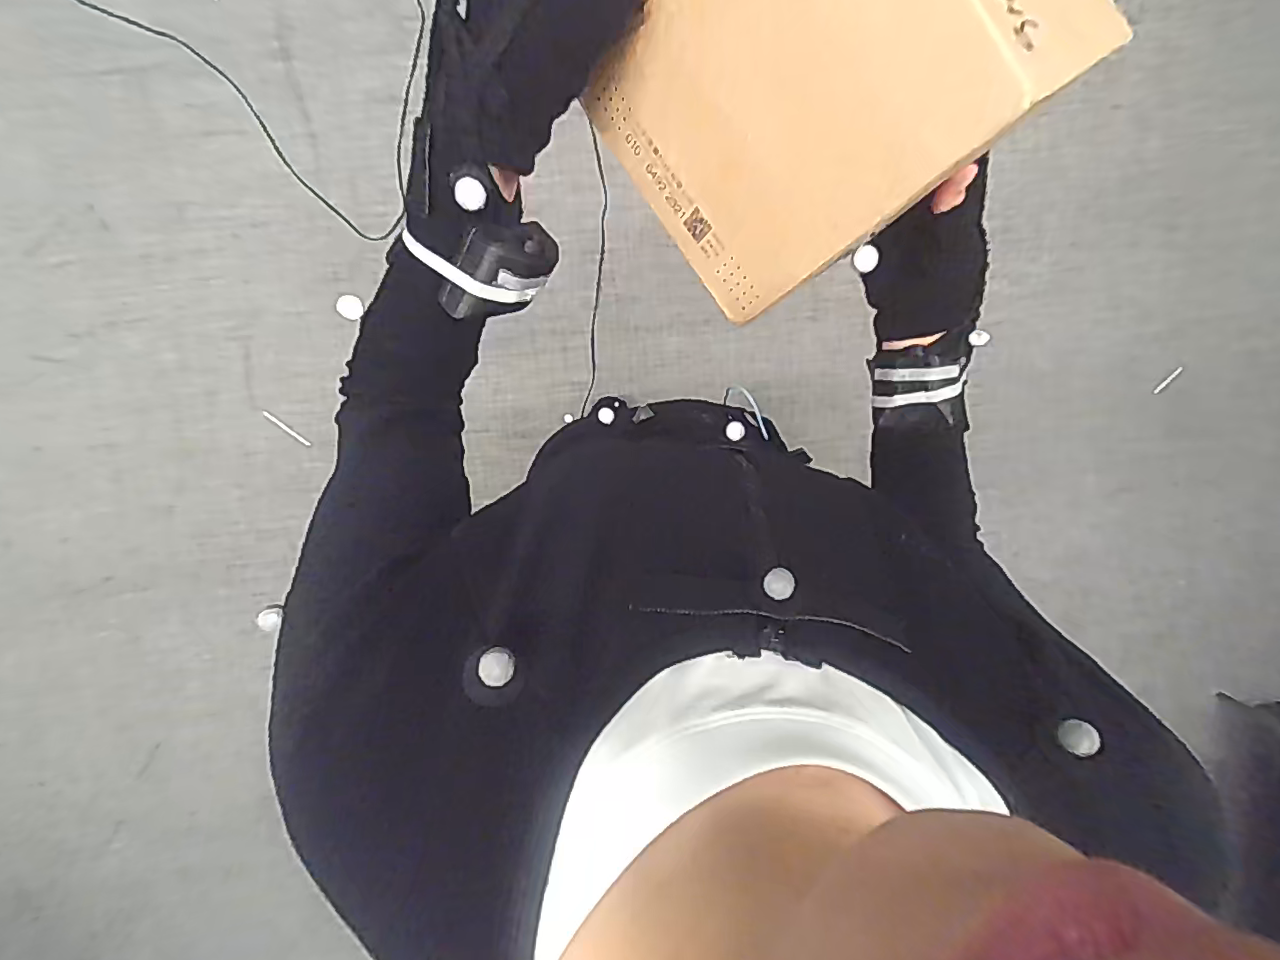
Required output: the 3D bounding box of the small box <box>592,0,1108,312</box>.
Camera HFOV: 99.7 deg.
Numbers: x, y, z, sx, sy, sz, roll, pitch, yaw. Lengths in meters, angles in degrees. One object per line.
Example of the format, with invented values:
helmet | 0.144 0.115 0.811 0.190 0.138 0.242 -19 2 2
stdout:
small box | 0.105 -0.227 0.299 0.179 0.176 0.168 -39 96 -31
